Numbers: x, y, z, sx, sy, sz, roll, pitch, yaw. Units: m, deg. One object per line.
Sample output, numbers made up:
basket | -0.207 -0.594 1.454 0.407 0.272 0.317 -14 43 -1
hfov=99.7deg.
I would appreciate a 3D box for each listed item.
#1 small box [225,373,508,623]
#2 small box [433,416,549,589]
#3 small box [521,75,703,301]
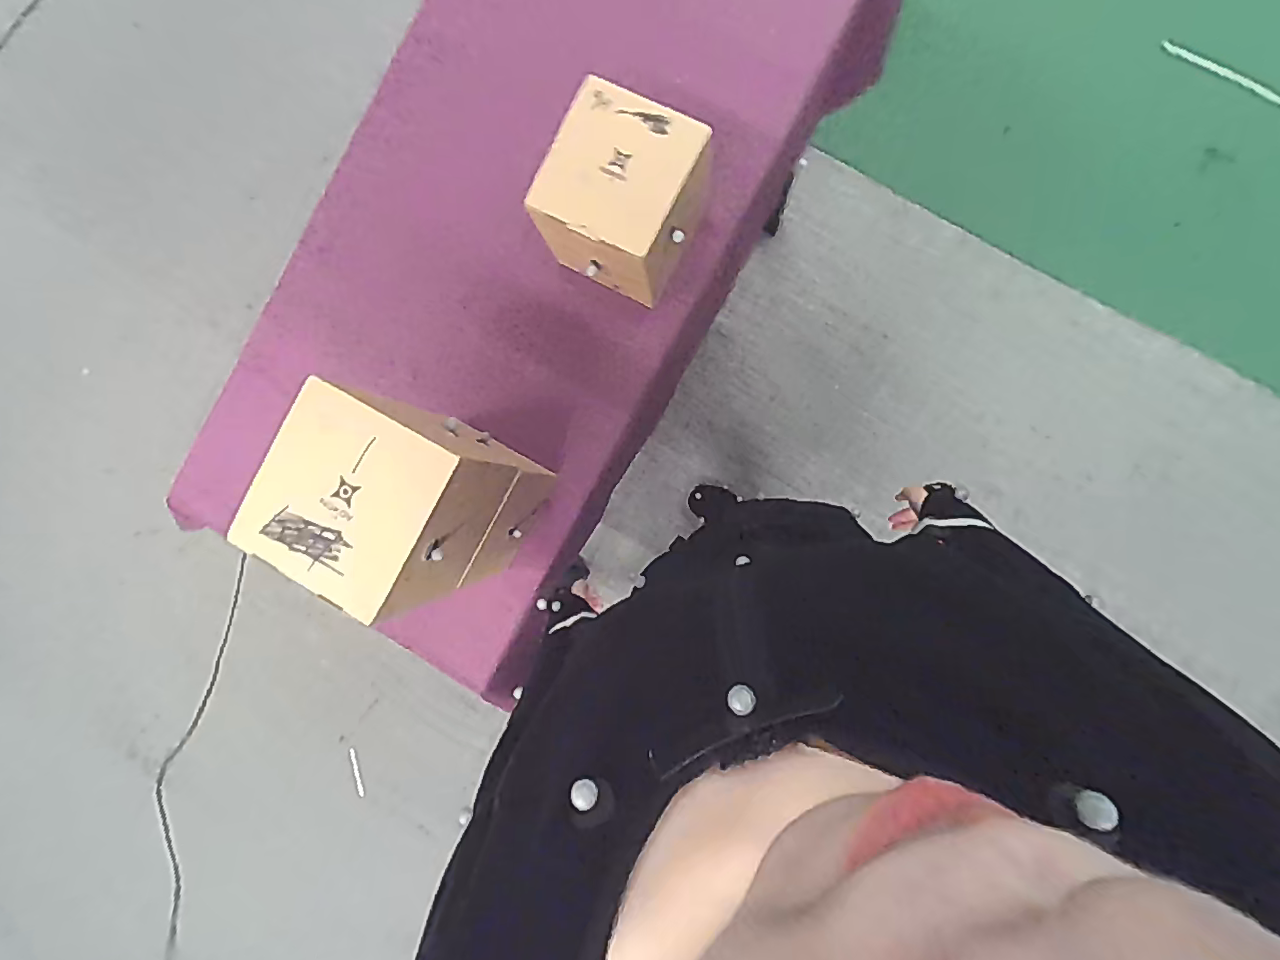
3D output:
small box | -0.264 0.018 0.566 0.168 0.176 0.179 29 91 6
small box | -0.246 0.021 0.730 0.179 0.176 0.168 29 91 7
small box | -0.025 -0.367 0.716 0.168 0.176 0.179 28 92 6
